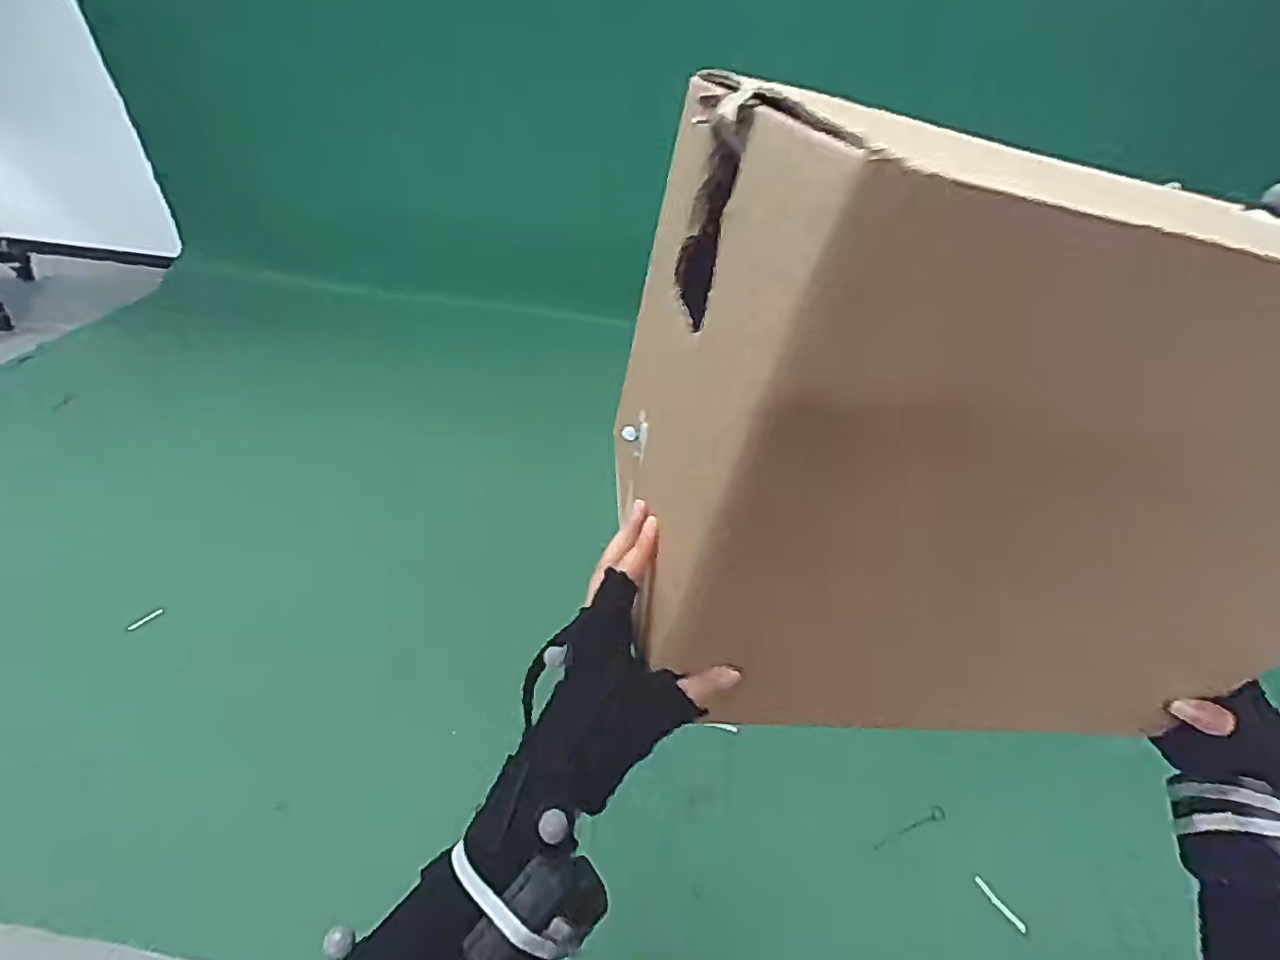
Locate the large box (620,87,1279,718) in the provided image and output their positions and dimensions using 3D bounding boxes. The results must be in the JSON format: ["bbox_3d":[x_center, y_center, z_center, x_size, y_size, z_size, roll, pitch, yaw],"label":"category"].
[{"bbox_3d":[0.220,-0.045,0.399,0.408,0.320,0.320,7,39,-13],"label":"large box"}]
